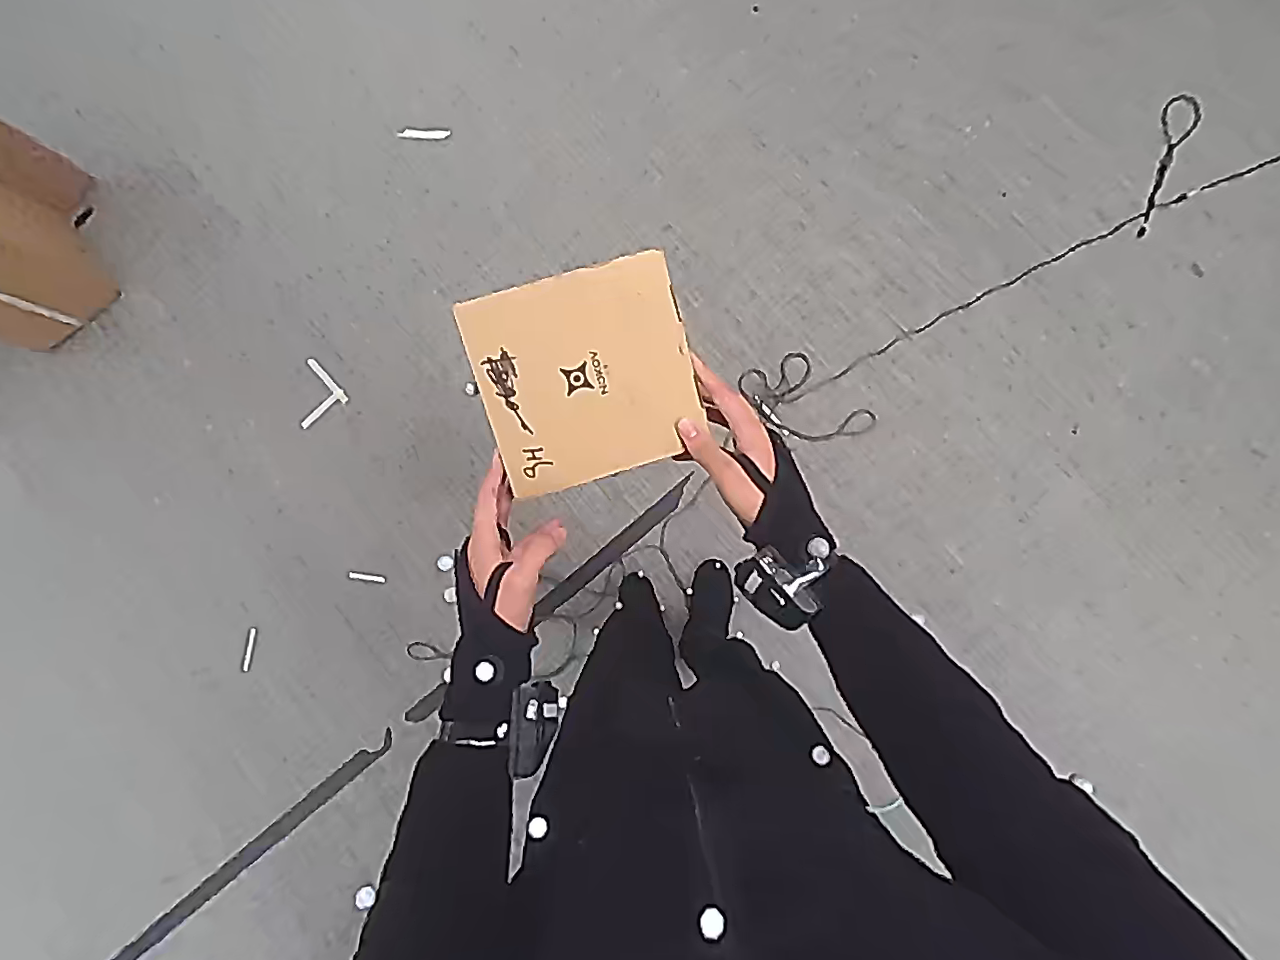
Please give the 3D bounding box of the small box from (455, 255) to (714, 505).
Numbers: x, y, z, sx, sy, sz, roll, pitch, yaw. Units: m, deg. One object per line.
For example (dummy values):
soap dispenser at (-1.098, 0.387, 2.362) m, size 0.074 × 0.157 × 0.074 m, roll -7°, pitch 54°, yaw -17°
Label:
small box at (-0.050, -0.090, 0.513) m, size 0.179 × 0.176 × 0.168 m, roll -17°, pitch 98°, yaw -4°
